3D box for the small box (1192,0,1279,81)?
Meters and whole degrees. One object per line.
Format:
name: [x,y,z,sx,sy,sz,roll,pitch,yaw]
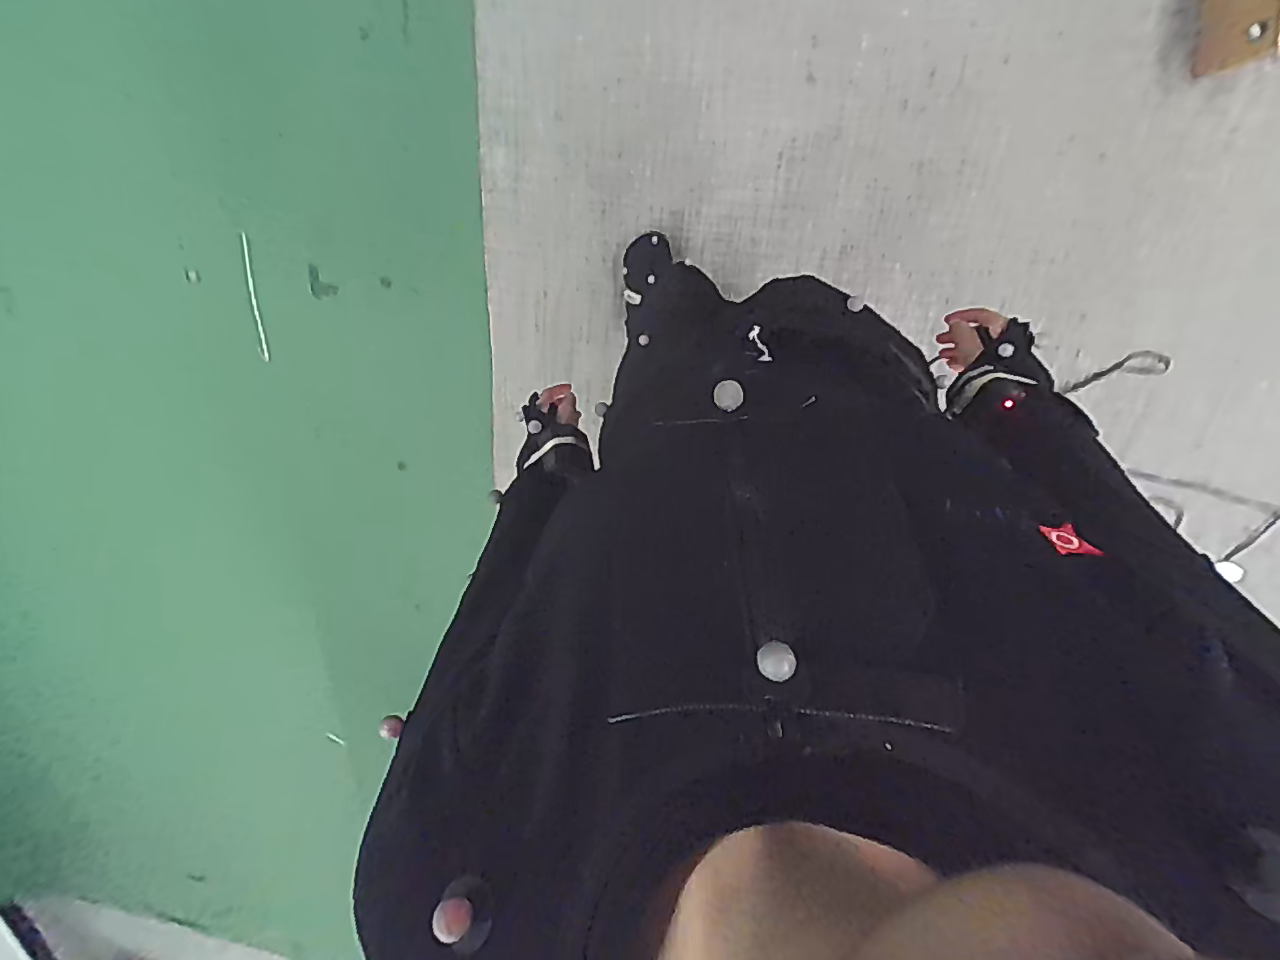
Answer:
small box: [1.024,-0.771,0.844,0.168,0.176,0.179,-12,110,15]
